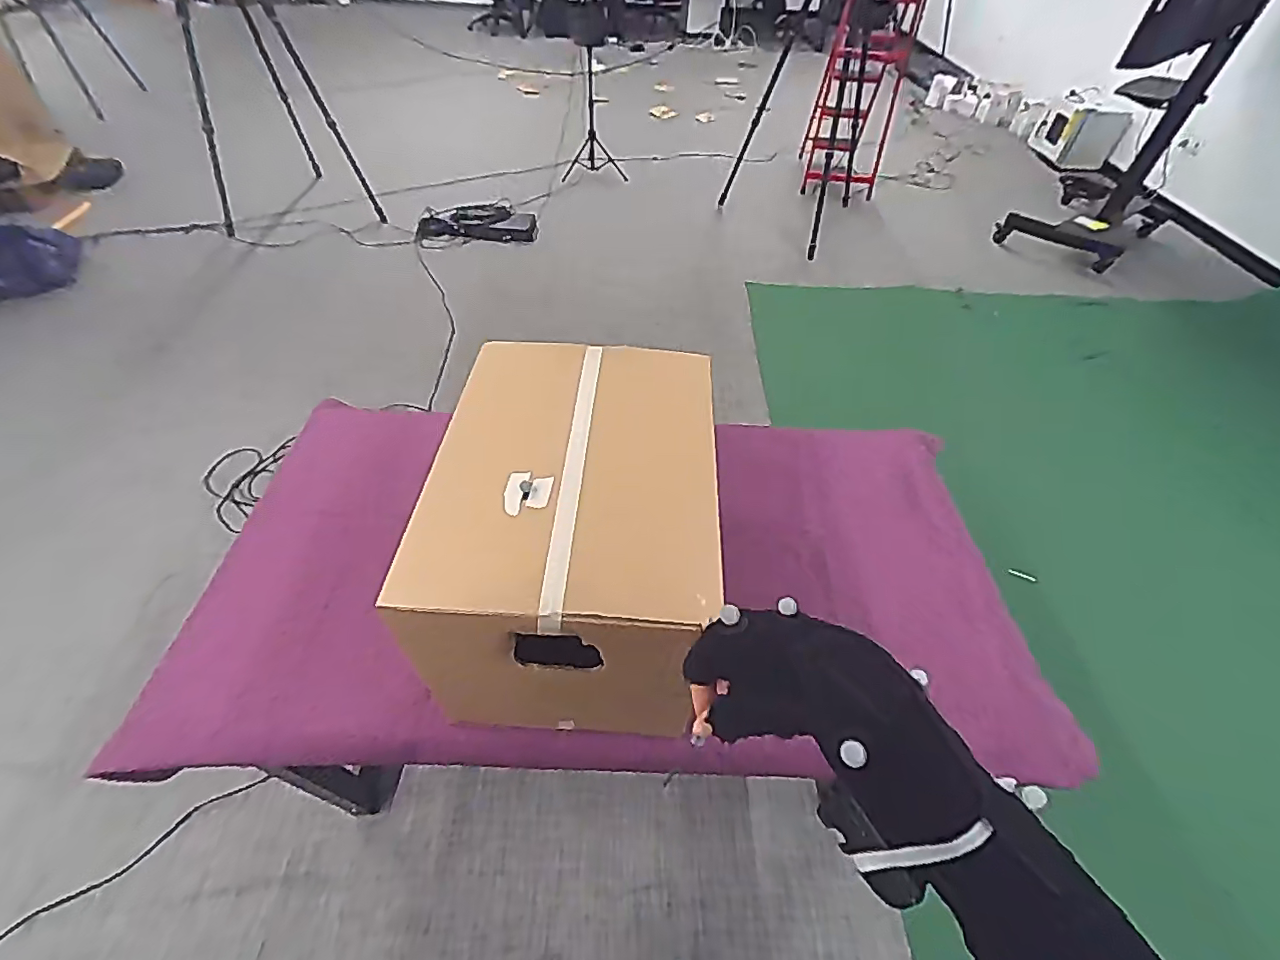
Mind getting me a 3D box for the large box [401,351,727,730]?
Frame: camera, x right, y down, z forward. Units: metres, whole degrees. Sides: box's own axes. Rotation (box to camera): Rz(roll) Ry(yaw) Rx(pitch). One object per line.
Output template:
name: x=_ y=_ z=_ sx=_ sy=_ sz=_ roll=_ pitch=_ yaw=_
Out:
large box: x=-0.072 y=0.078 z=0.740 sx=0.320 sy=0.320 sz=0.408 roll=4 pitch=49 yaw=0
